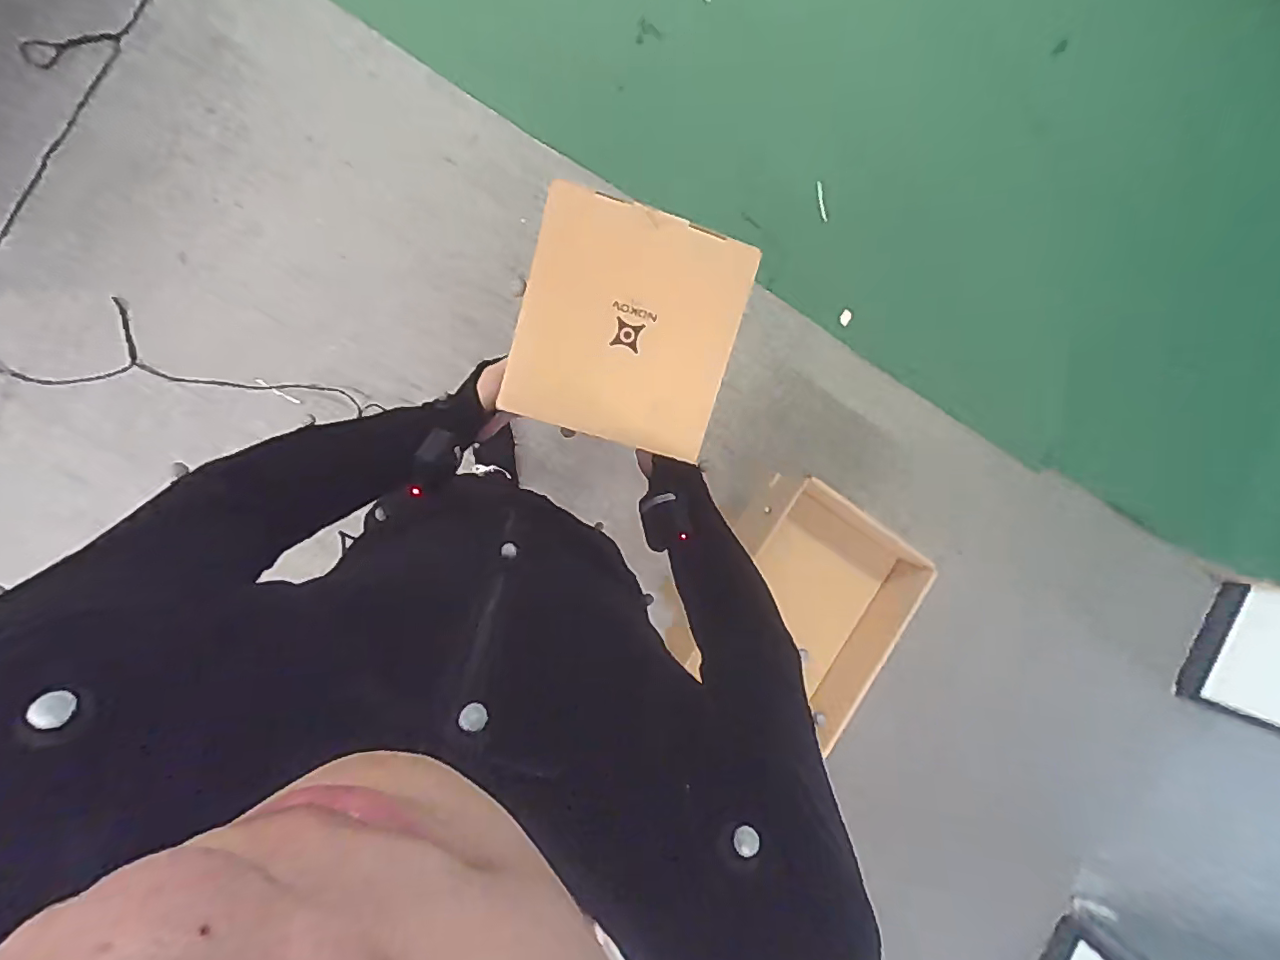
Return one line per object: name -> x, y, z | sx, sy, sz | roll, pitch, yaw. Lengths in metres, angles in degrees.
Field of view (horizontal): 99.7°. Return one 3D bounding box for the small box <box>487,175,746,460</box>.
small box -> -0.027, -0.134, 0.494 | 0.168, 0.176, 0.179 | 15, 99, -10
